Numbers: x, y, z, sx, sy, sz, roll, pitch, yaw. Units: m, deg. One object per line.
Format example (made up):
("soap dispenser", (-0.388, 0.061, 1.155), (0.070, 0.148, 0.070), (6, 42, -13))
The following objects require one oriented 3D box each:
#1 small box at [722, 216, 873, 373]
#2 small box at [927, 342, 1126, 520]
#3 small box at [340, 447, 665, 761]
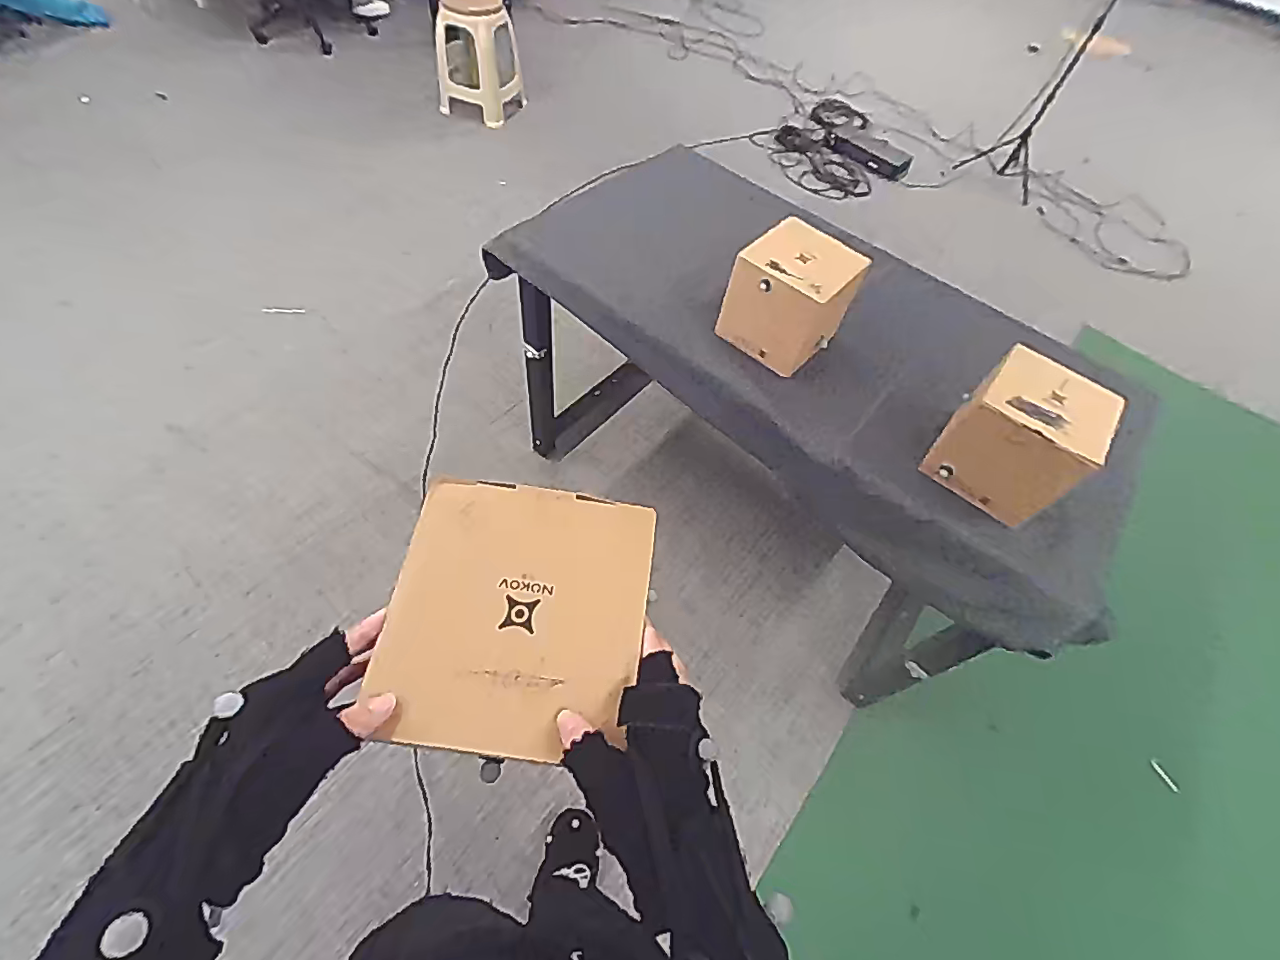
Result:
("small box", (0.267, -0.325, 0.956), (0.168, 0.176, 0.179), (38, 59, 17))
("small box", (0.578, -0.071, 0.830), (0.168, 0.176, 0.179), (38, 58, 17))
("small box", (-0.083, 0.103, 0.409), (0.168, 0.176, 0.179), (10, 62, 0))
